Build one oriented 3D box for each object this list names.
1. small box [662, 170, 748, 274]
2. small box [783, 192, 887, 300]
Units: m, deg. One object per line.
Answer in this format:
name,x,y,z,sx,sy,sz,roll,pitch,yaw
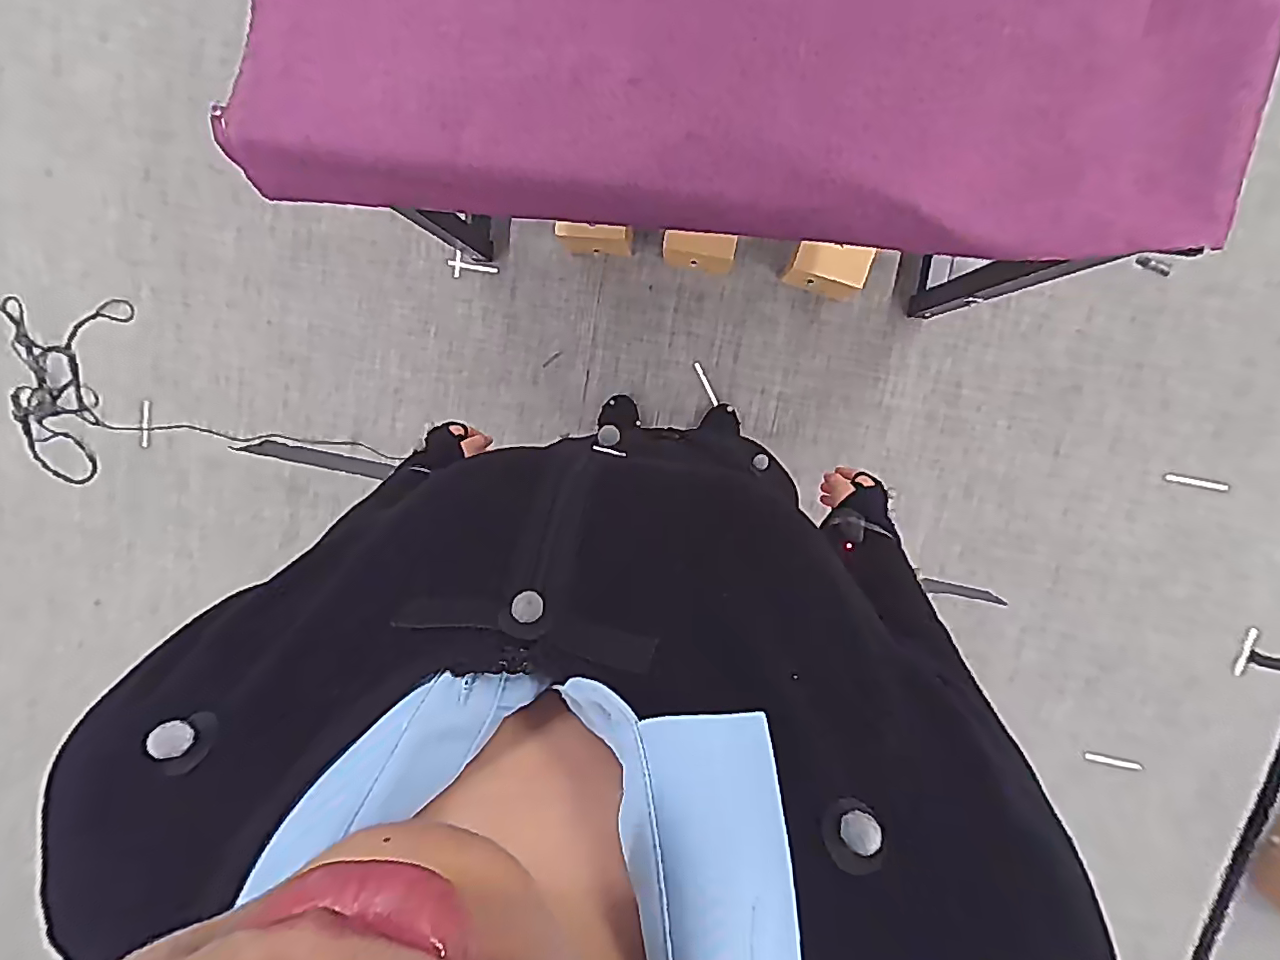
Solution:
small box,0.153,-0.611,1.304,0.168,0.176,0.179,11,99,2
small box,0.455,-0.548,1.293,0.168,0.176,0.179,18,99,2
